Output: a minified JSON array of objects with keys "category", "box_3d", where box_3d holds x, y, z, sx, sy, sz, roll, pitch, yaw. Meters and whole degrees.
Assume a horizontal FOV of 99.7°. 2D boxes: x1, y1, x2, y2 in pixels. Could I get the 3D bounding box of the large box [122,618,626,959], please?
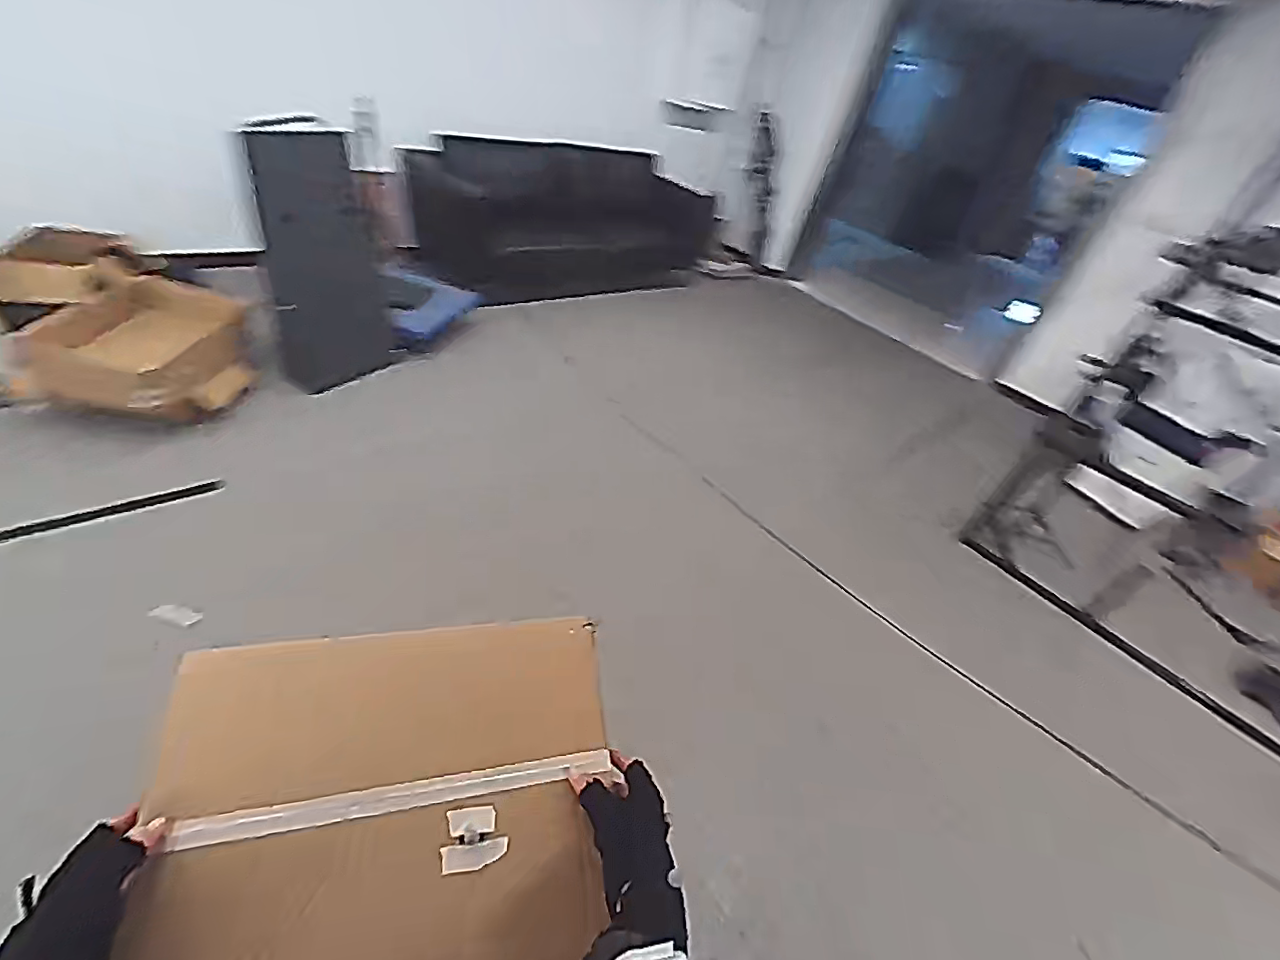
[{"category":"large box","box_3d":[-0.267,0.385,0.637,0.408,0.320,0.320,-1,58,-18]}]
